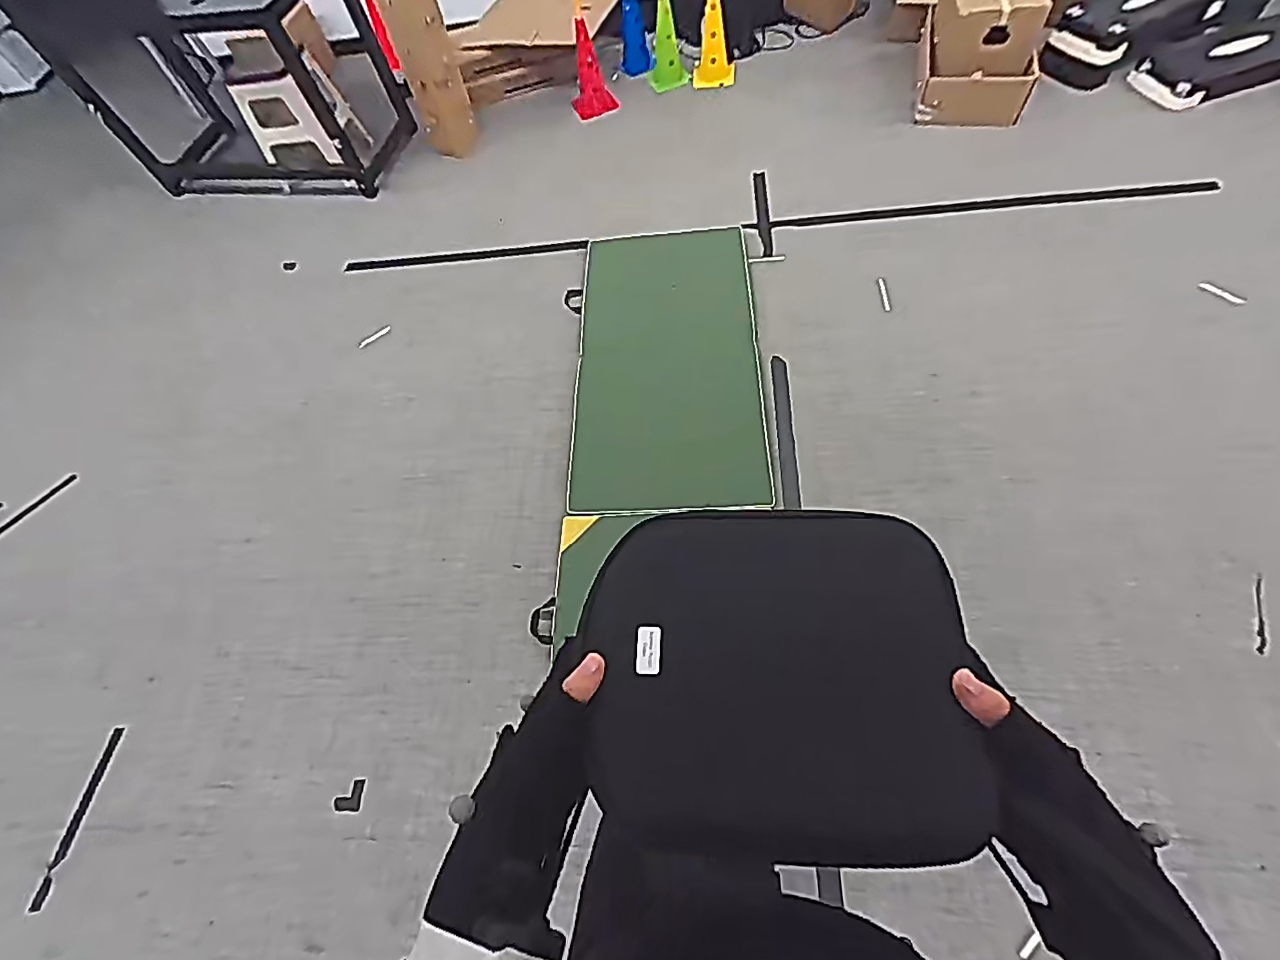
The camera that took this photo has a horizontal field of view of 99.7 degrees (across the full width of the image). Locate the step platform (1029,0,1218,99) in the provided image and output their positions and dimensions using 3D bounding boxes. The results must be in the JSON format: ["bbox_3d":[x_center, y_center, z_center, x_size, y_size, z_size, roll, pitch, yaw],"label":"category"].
[{"bbox_3d":[2.063,-1.899,2.311,0.684,0.204,0.286,-28,62,-7],"label":"step platform"}]
